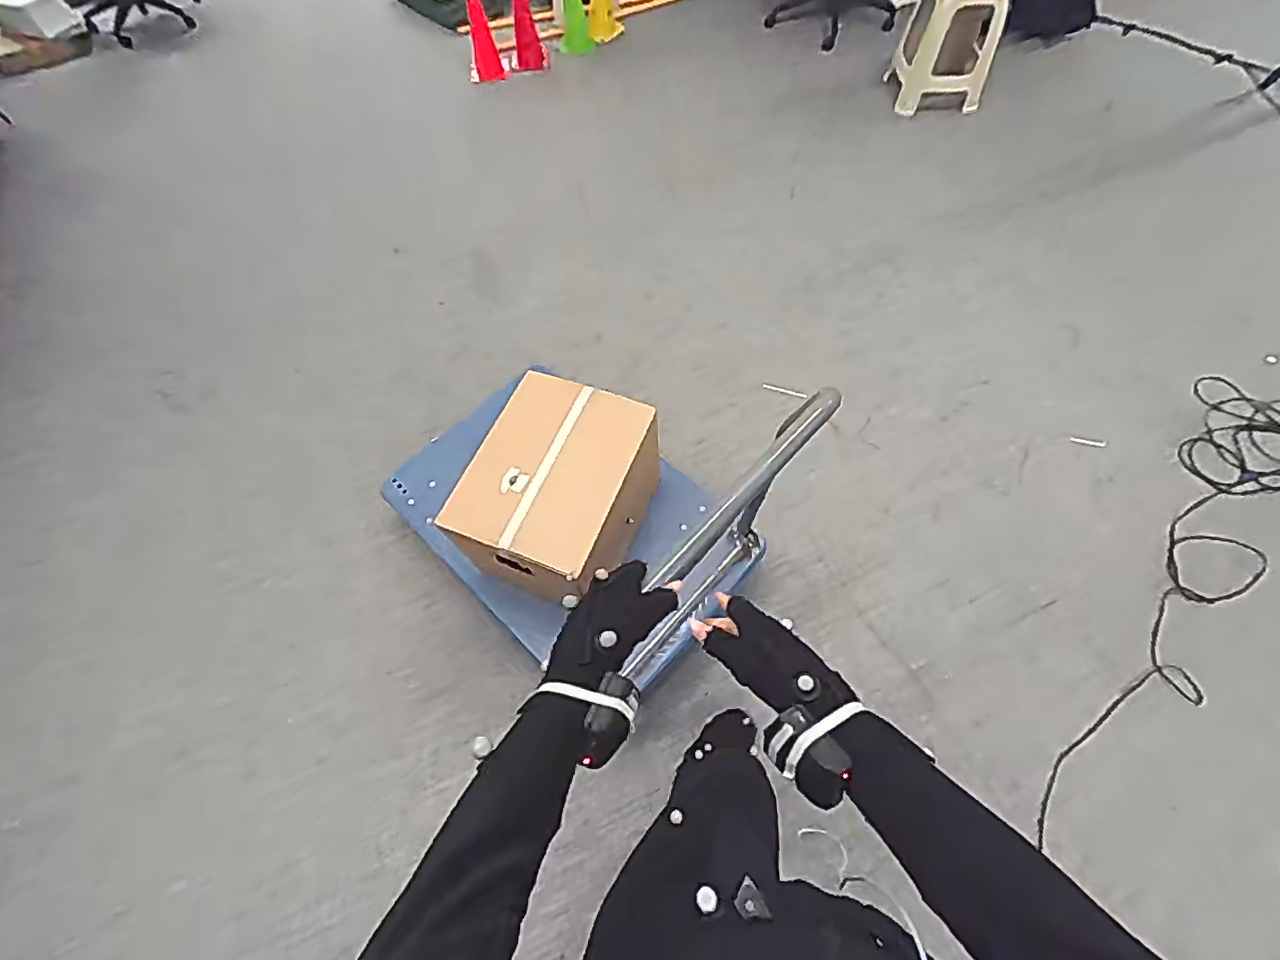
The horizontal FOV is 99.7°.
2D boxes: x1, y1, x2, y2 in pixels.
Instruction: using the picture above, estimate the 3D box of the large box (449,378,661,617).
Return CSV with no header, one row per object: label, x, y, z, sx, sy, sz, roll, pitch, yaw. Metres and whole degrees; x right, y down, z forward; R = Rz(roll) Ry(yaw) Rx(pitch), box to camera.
large box,-0.157,0.045,1.235,0.320,0.320,0.408,17,65,13
